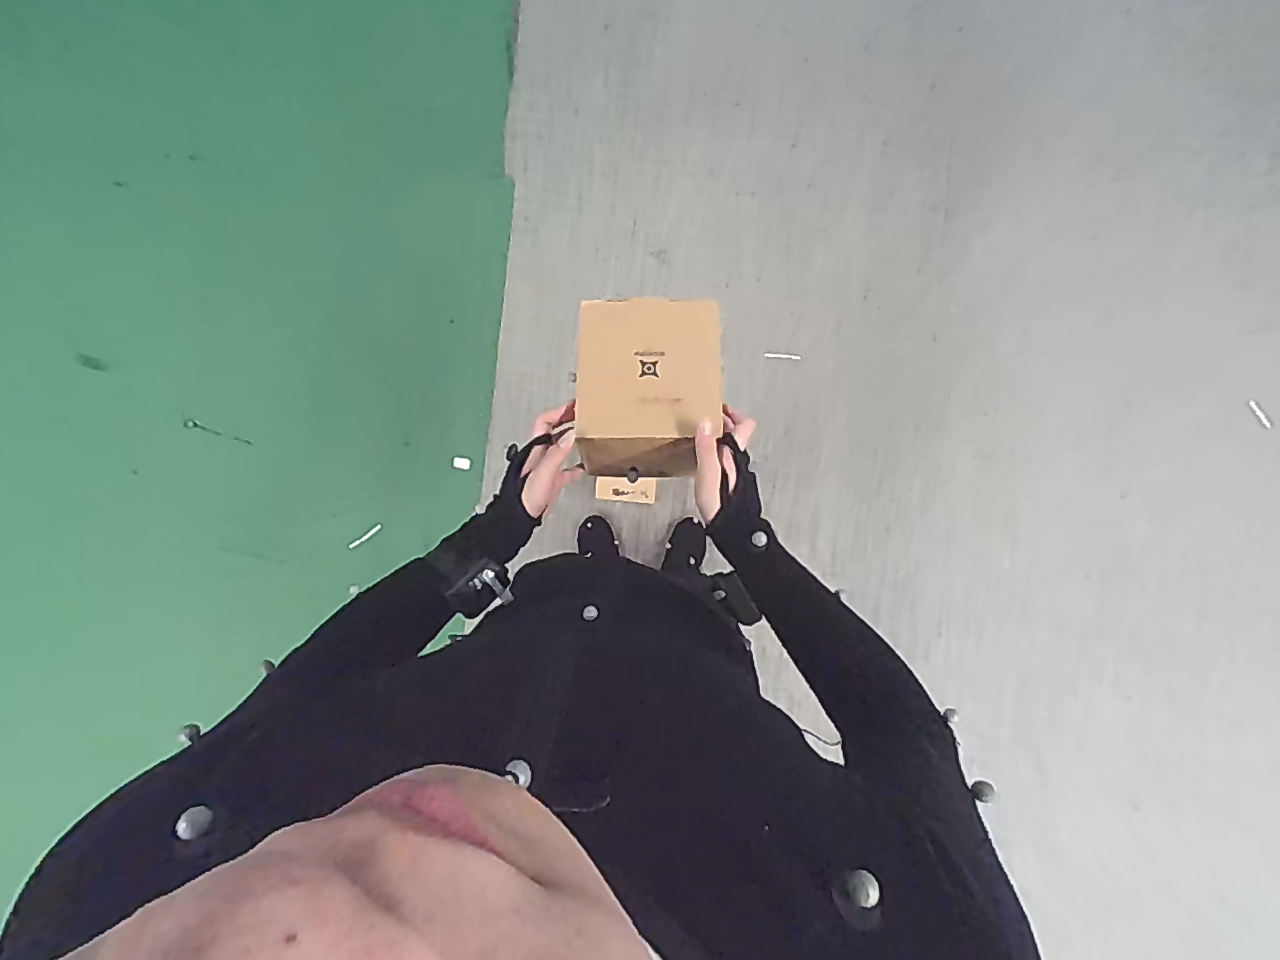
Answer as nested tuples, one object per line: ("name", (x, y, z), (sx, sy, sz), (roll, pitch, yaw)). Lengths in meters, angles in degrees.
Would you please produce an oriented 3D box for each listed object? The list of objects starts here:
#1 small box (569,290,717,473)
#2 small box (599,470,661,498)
("small box", (0.005, -0.118, 0.692), (0.168, 0.176, 0.179), (1, 75, 1))
("small box", (-0.019, -0.043, 1.570), (0.168, 0.176, 0.179), (6, 88, 3))
